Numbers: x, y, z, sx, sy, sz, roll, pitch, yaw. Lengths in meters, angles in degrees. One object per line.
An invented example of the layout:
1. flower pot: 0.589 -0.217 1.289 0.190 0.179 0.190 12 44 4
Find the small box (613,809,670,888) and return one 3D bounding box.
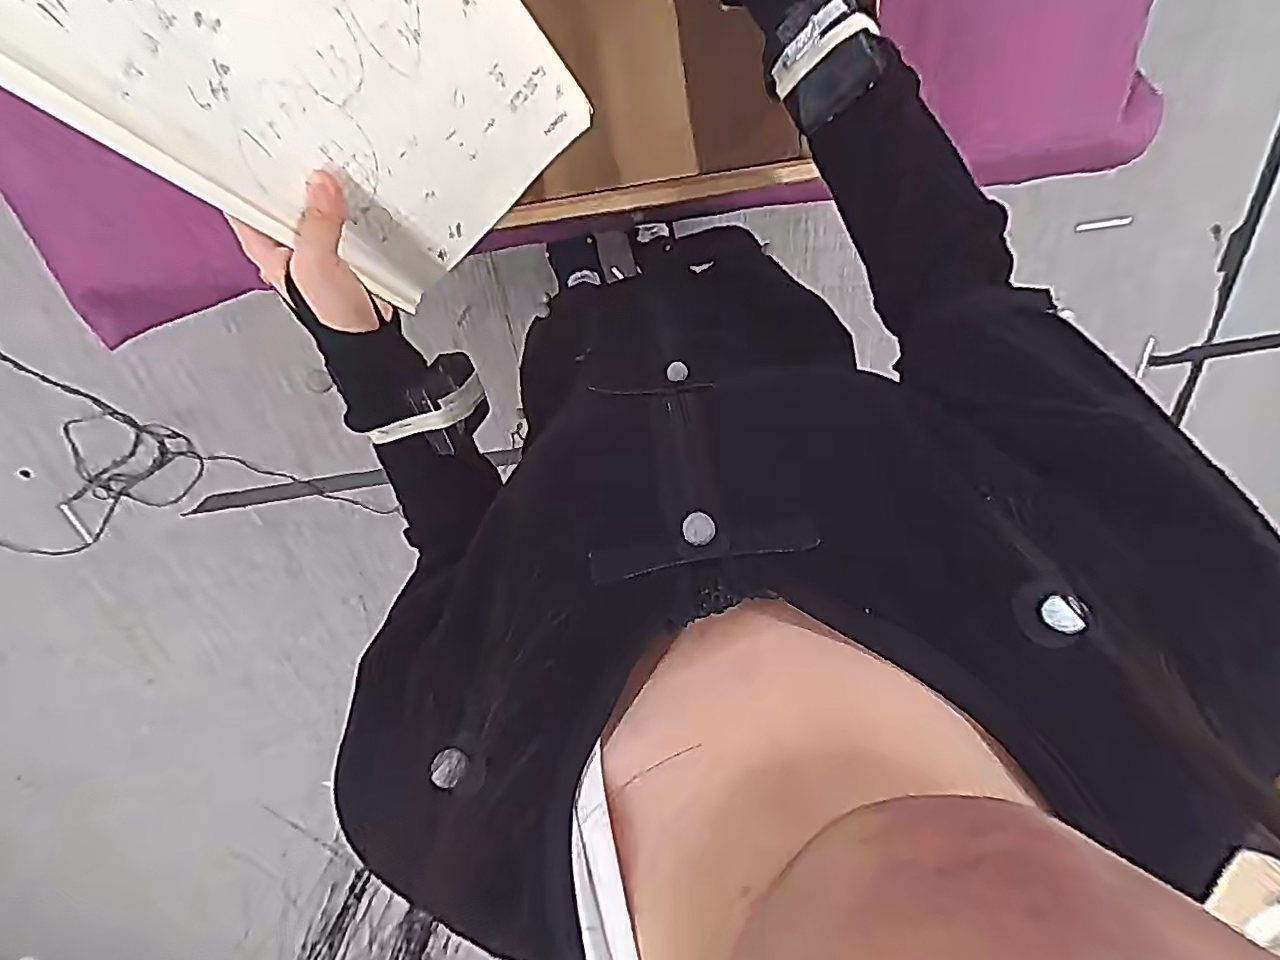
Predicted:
1. small box: 0.003 1.296 1.914 0.168 0.176 0.179 -12 121 -1
